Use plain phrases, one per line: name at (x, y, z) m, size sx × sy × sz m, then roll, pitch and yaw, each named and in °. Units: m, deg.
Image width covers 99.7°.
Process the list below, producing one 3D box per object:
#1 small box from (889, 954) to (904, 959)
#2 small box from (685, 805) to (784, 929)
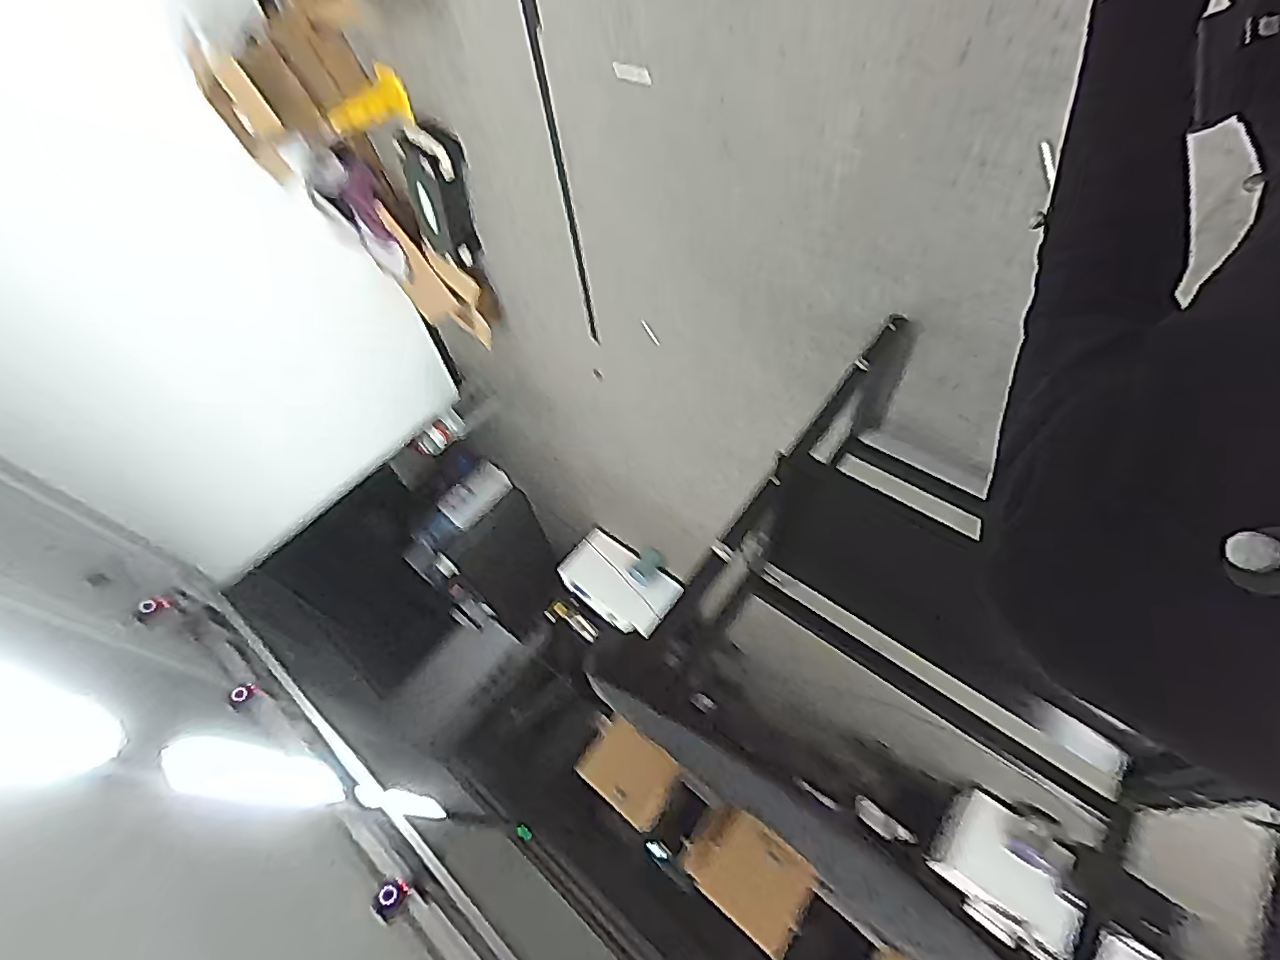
small box at (0.568, 1.107, 1.083) m, size 0.168 × 0.176 × 0.179 m, roll 32°, pitch 155°, yaw 24°
small box at (0.221, 0.898, 1.272) m, size 0.168 × 0.176 × 0.179 m, roll 32°, pitch 155°, yaw 23°
